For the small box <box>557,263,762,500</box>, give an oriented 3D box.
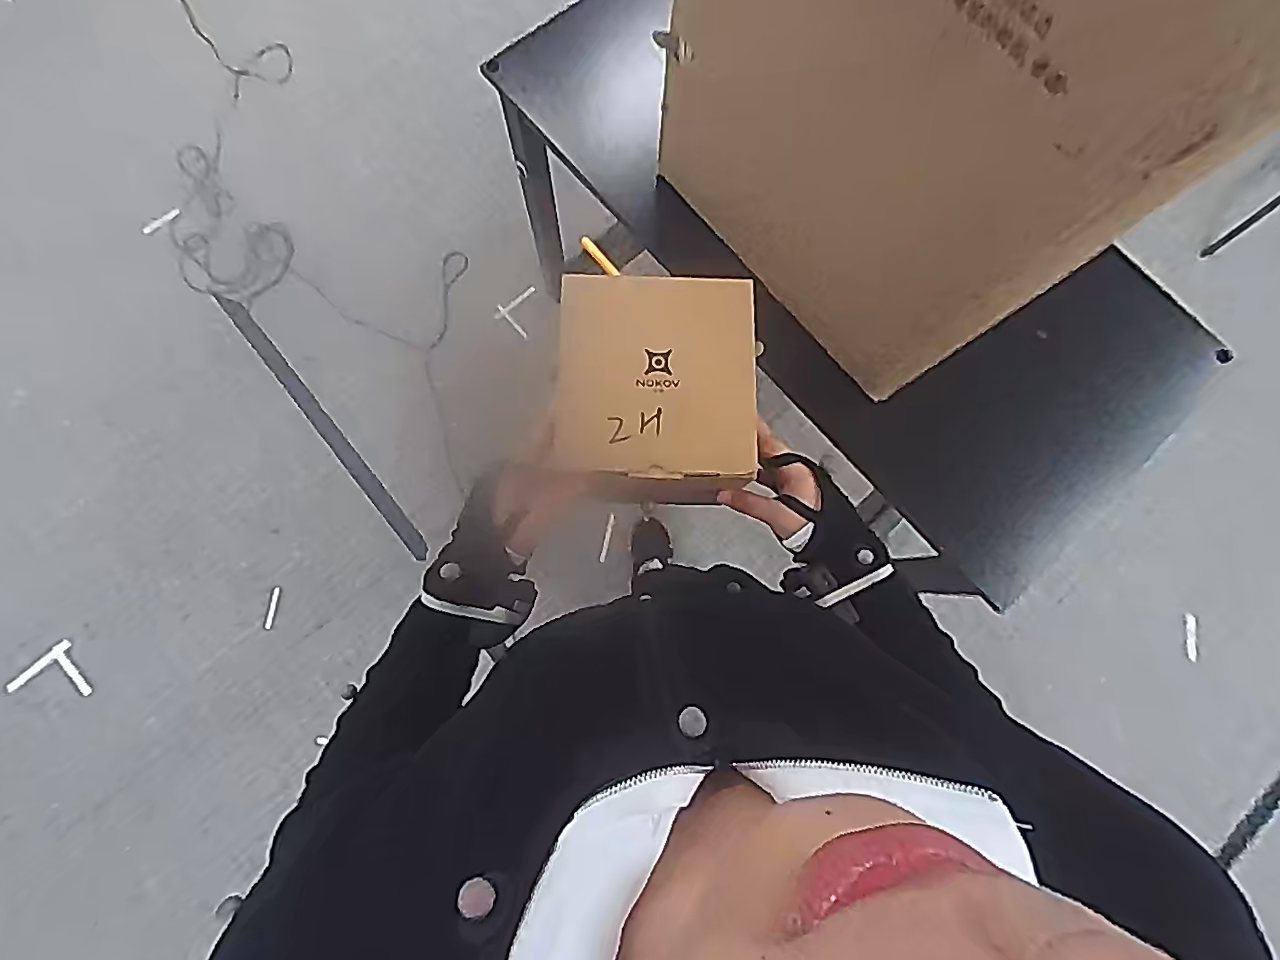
[{"bbox_3d":[0.015,-0.082,0.522,0.168,0.176,0.179,1,79,-1],"label":"small box"}]
